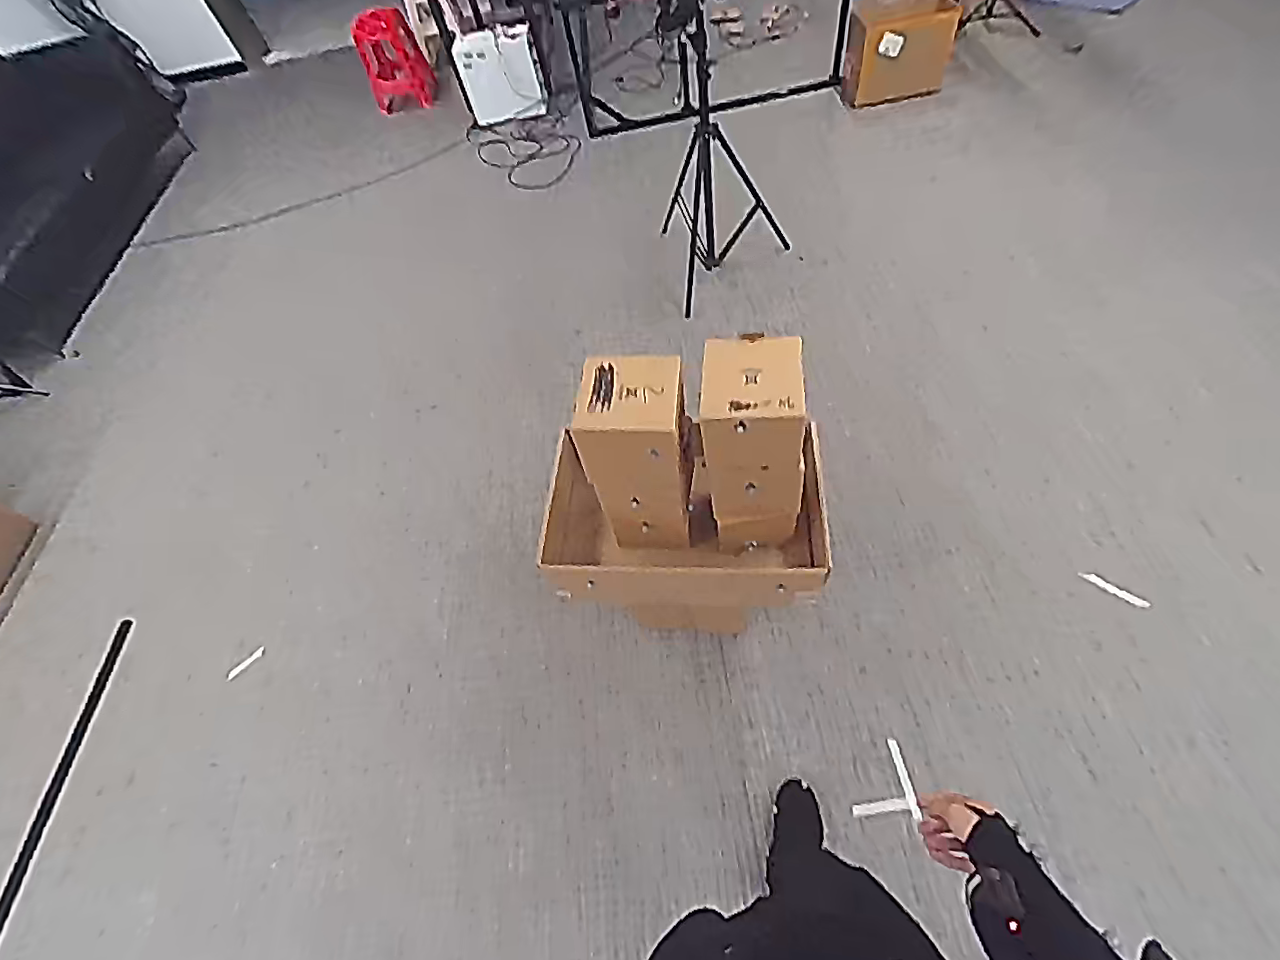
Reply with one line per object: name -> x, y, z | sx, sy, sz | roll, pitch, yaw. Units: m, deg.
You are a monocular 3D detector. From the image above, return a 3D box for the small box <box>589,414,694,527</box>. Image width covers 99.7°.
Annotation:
small box -> 0.013, -0.015, 1.112 | 0.179, 0.176, 0.168 | 5, 59, 13

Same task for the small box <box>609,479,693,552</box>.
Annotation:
small box -> 0.032, 0.059, 1.258 | 0.179, 0.176, 0.168 | 1, 58, 9
